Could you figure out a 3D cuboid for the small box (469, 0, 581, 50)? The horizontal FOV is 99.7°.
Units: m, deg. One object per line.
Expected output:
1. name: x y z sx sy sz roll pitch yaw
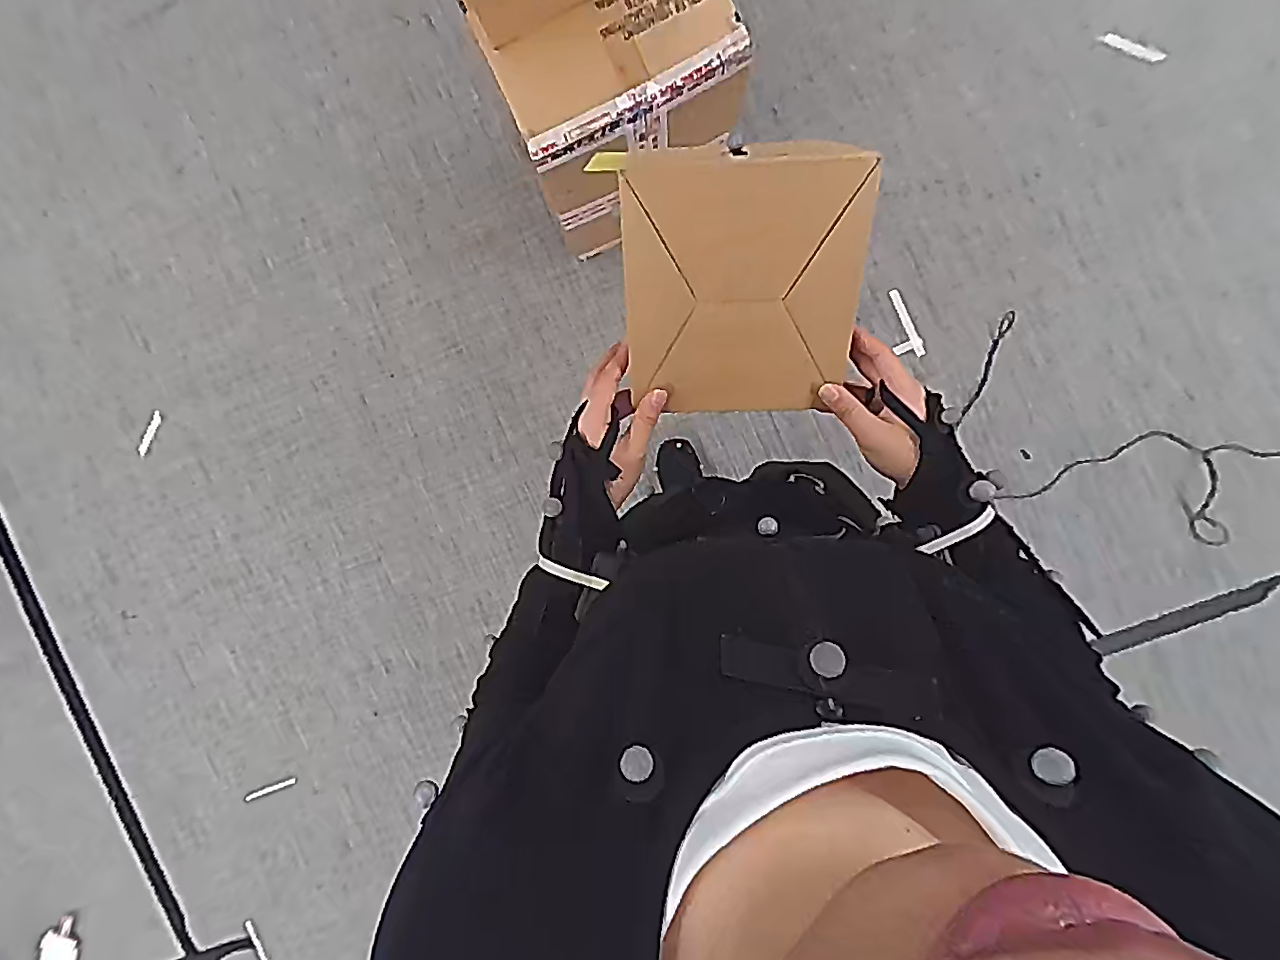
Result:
1. small box: -0.189 -0.785 0.776 0.179 0.176 0.168 -23 92 7
